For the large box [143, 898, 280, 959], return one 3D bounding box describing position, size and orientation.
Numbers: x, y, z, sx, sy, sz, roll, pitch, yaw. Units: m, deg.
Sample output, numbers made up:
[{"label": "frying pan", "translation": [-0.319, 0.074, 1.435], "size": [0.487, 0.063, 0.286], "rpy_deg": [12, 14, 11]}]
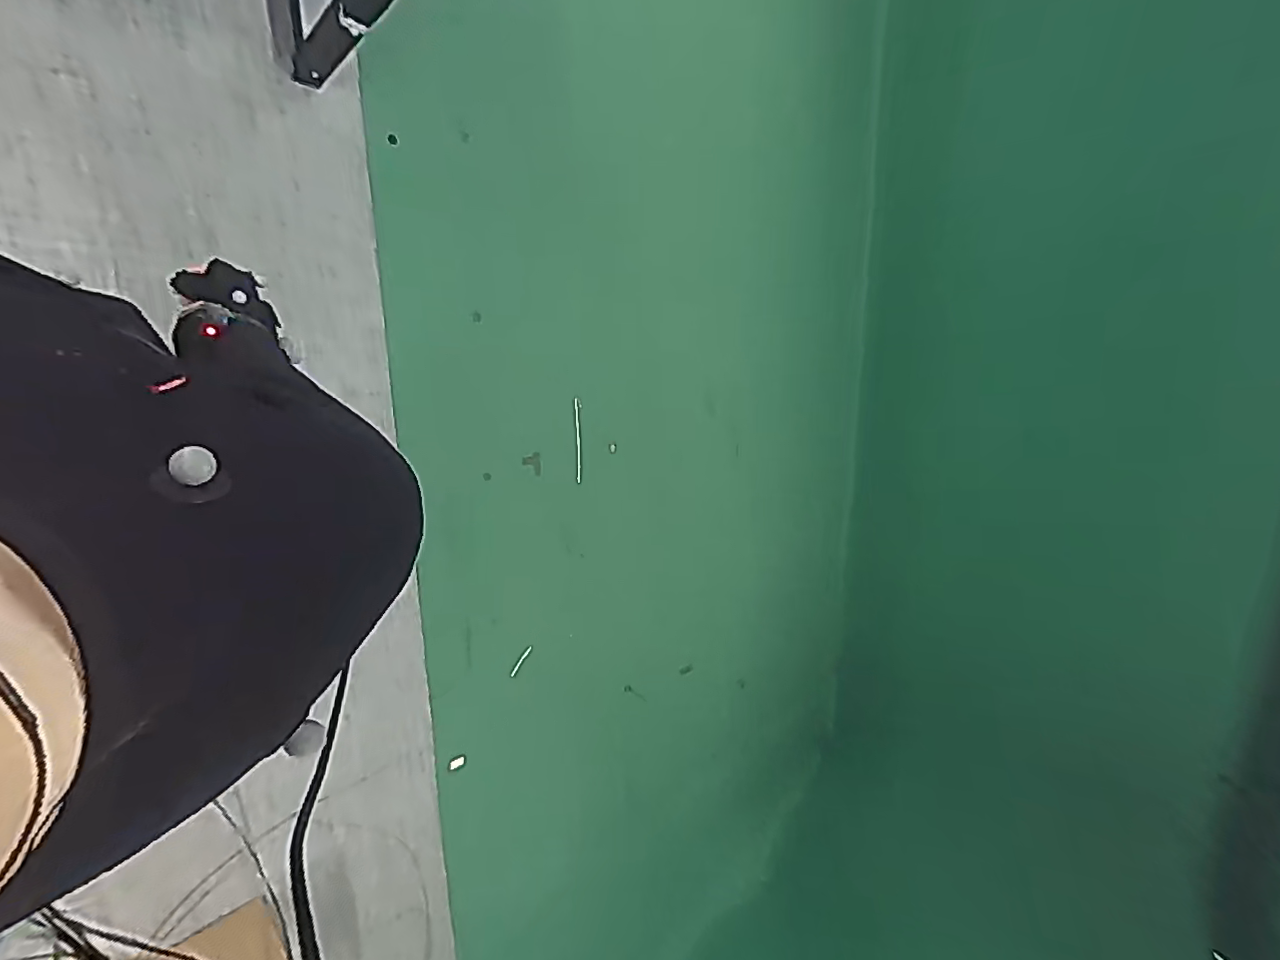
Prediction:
[{"label": "large box", "translation": [-1.042, 1.281, 1.203], "size": [0.408, 0.320, 0.320], "rpy_deg": [-13, 107, -48]}]
